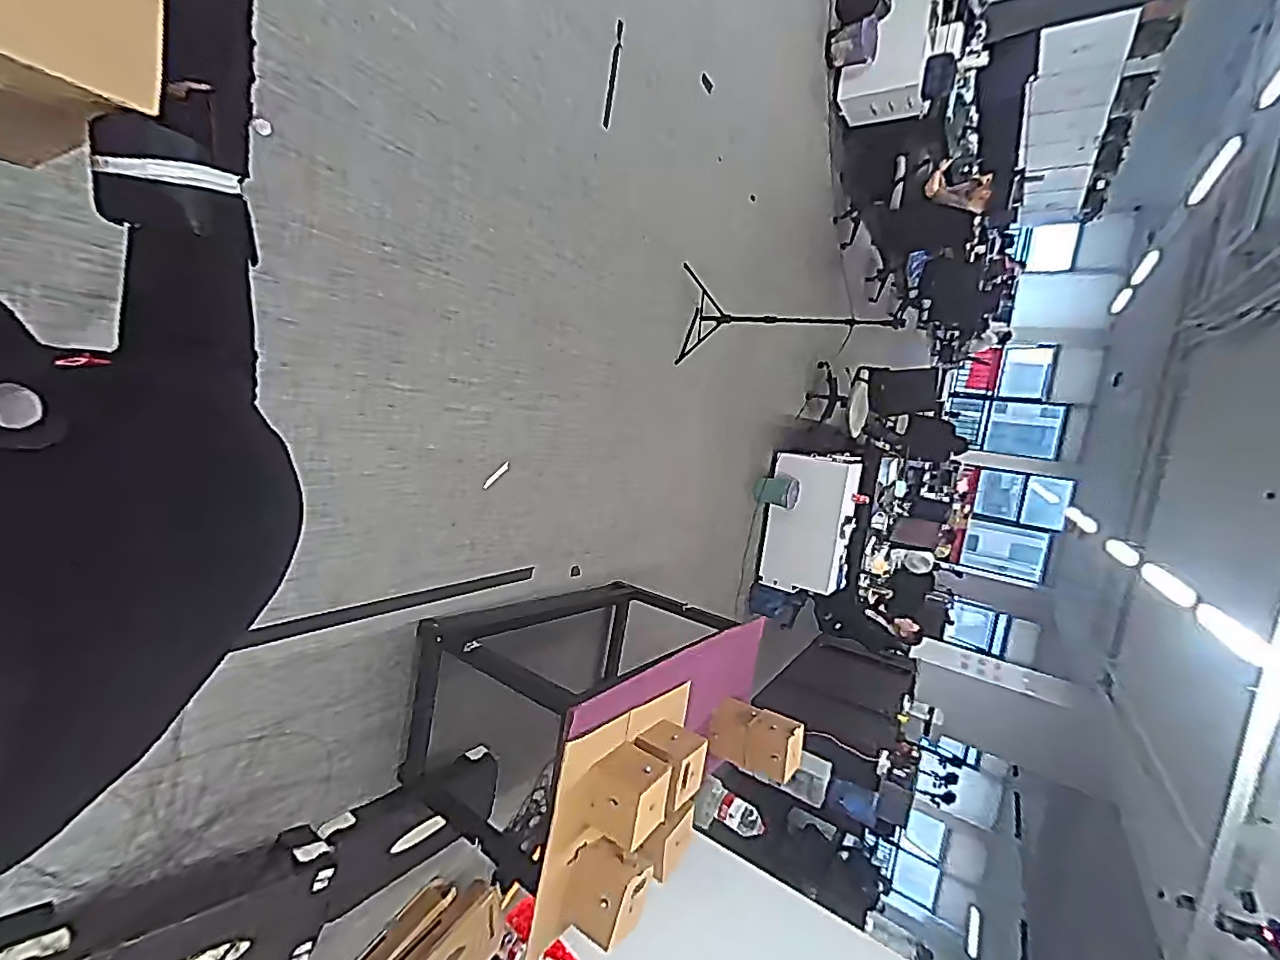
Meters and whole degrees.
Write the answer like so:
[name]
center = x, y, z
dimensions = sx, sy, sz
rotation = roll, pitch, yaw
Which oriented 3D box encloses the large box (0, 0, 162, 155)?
[large box]
center = -0.522, -0.408, 0.237
dimensions = 0.408, 0.320, 0.320
rotation = -4, 105, -59
